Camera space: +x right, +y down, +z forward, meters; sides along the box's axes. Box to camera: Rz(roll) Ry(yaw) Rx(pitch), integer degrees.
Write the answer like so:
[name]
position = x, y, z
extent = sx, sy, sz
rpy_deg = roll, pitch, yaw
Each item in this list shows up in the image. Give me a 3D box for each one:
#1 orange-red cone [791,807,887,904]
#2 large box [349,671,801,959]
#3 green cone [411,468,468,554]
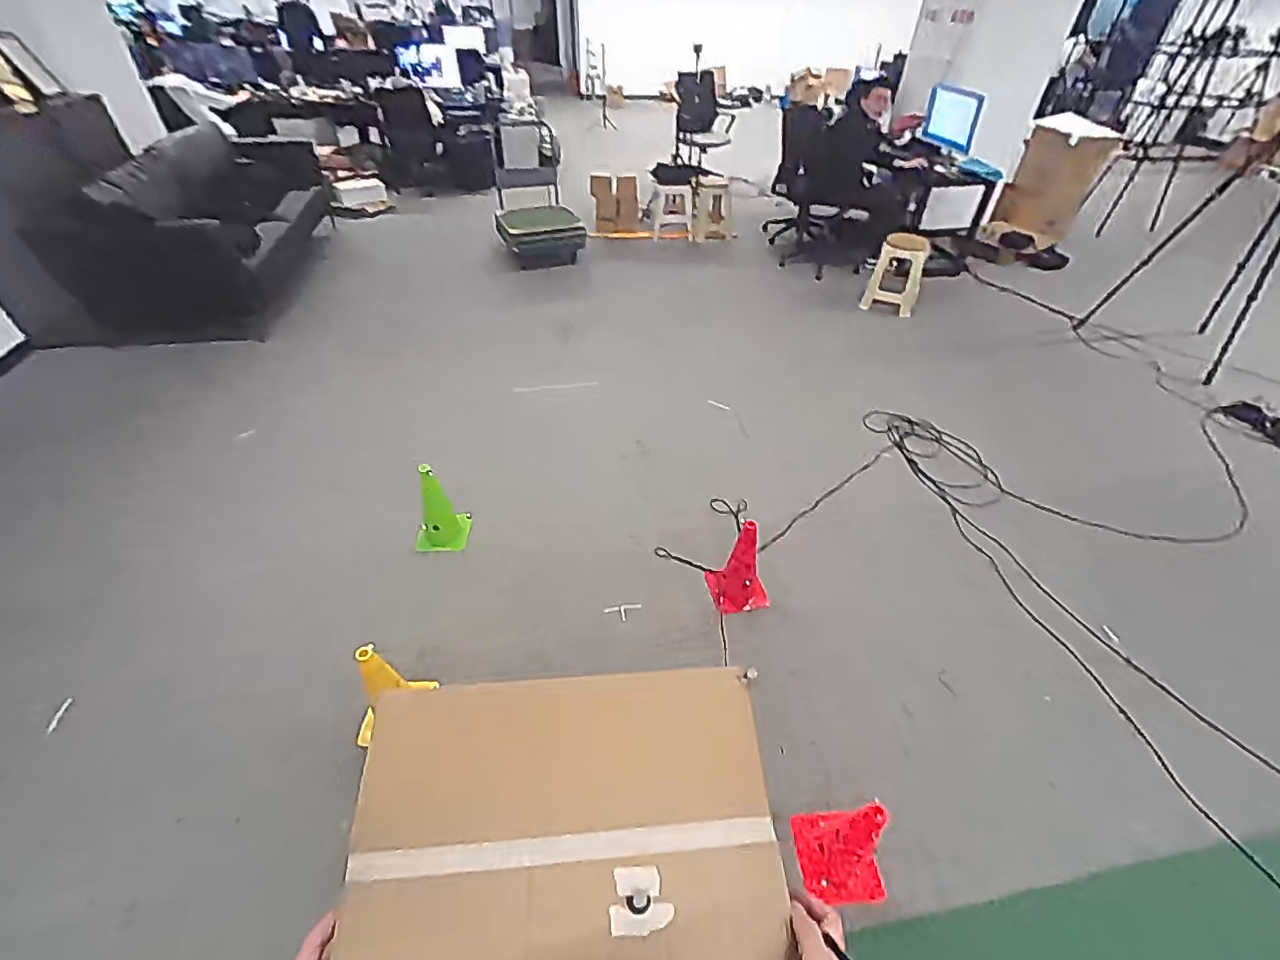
[orange-red cone]
position = 0.512, 0.856, 1.291
extent = 0.199, 0.360, 0.198
rpy_deg = 0, 43, -4
[large box]
position = -0.070, 0.442, 0.644
extent = 0.408, 0.320, 0.320
rpy_deg = -3, 57, -5
[green cone]
position = -0.812, 0.096, 2.090
extent = 0.200, 0.368, 0.202
rpy_deg = -2, 44, -4
